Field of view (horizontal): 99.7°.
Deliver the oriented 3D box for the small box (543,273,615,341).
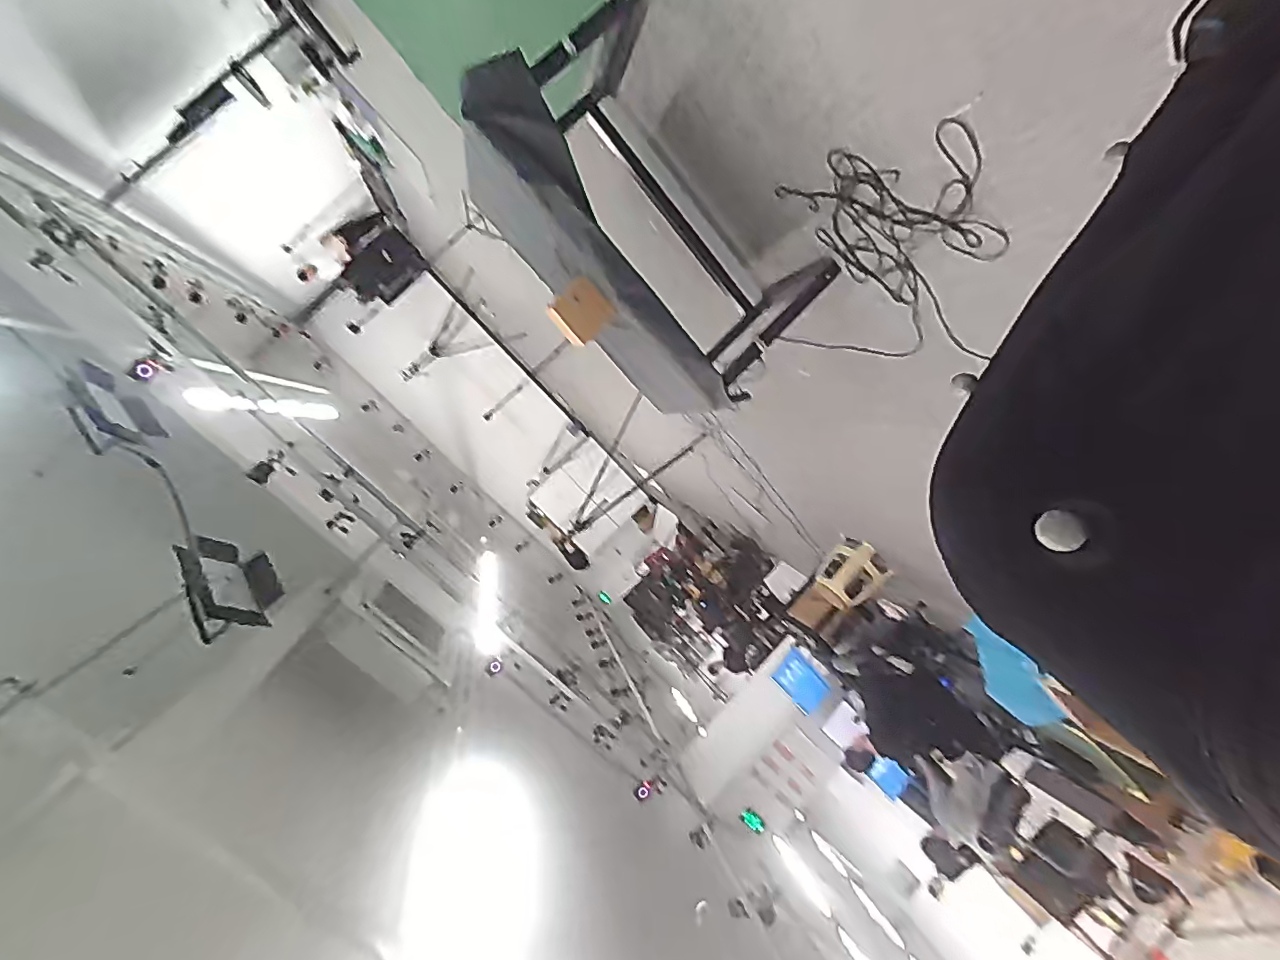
[{"bbox_3d":[-0.221,-0.627,1.952,0.179,0.176,0.168,47,174,-22],"label":"small box"}]
